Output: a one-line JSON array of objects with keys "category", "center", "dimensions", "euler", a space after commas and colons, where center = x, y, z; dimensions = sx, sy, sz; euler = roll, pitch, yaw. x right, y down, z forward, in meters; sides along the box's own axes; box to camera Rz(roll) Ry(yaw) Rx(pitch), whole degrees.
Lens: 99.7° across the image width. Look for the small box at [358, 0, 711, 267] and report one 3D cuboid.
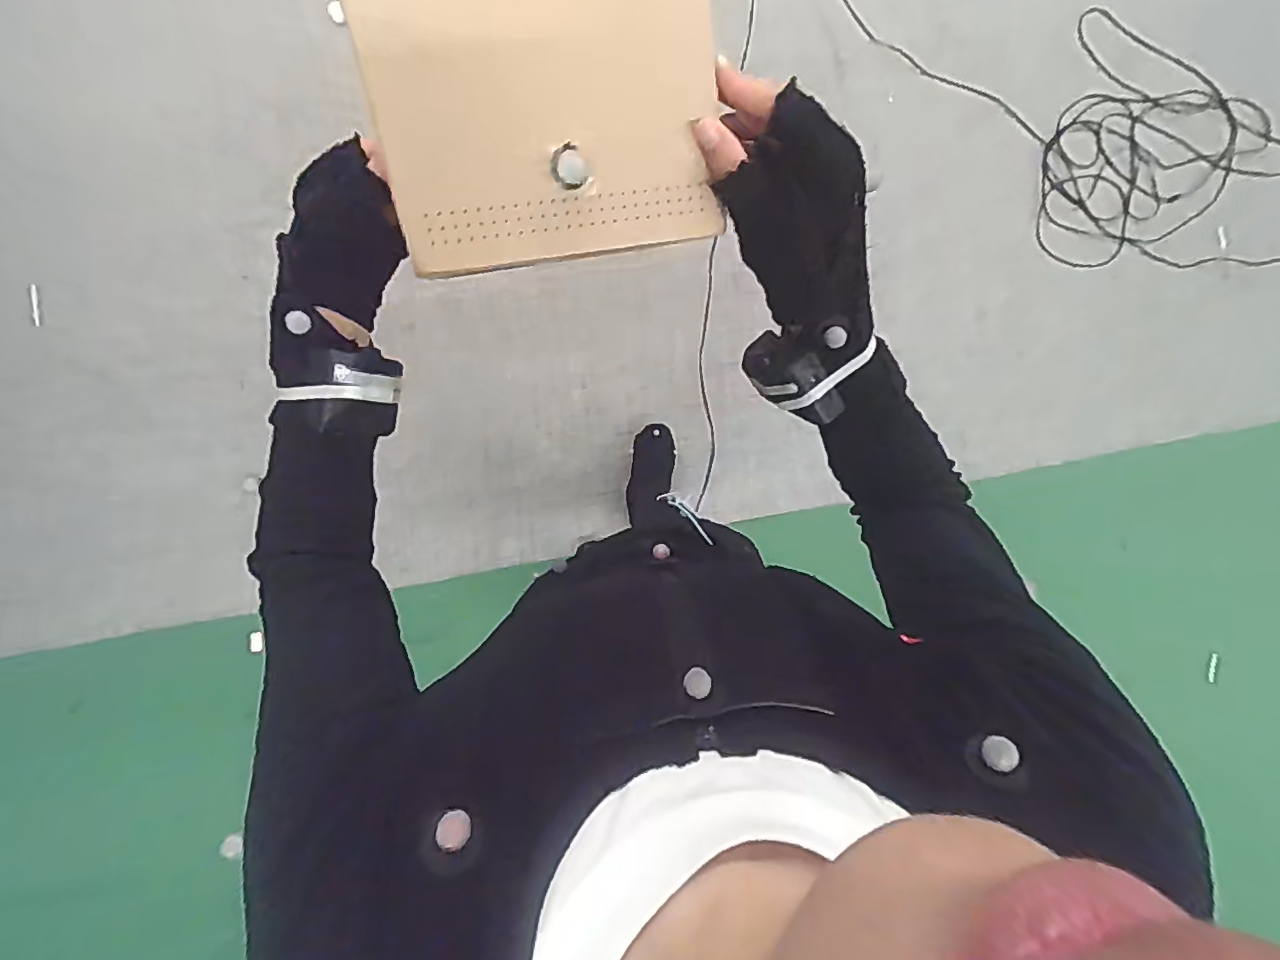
[{"category": "small box", "center": [-0.063, -0.233, 0.341], "dimensions": [0.179, 0.168, 0.176], "euler": [-14, 111, -14]}]
